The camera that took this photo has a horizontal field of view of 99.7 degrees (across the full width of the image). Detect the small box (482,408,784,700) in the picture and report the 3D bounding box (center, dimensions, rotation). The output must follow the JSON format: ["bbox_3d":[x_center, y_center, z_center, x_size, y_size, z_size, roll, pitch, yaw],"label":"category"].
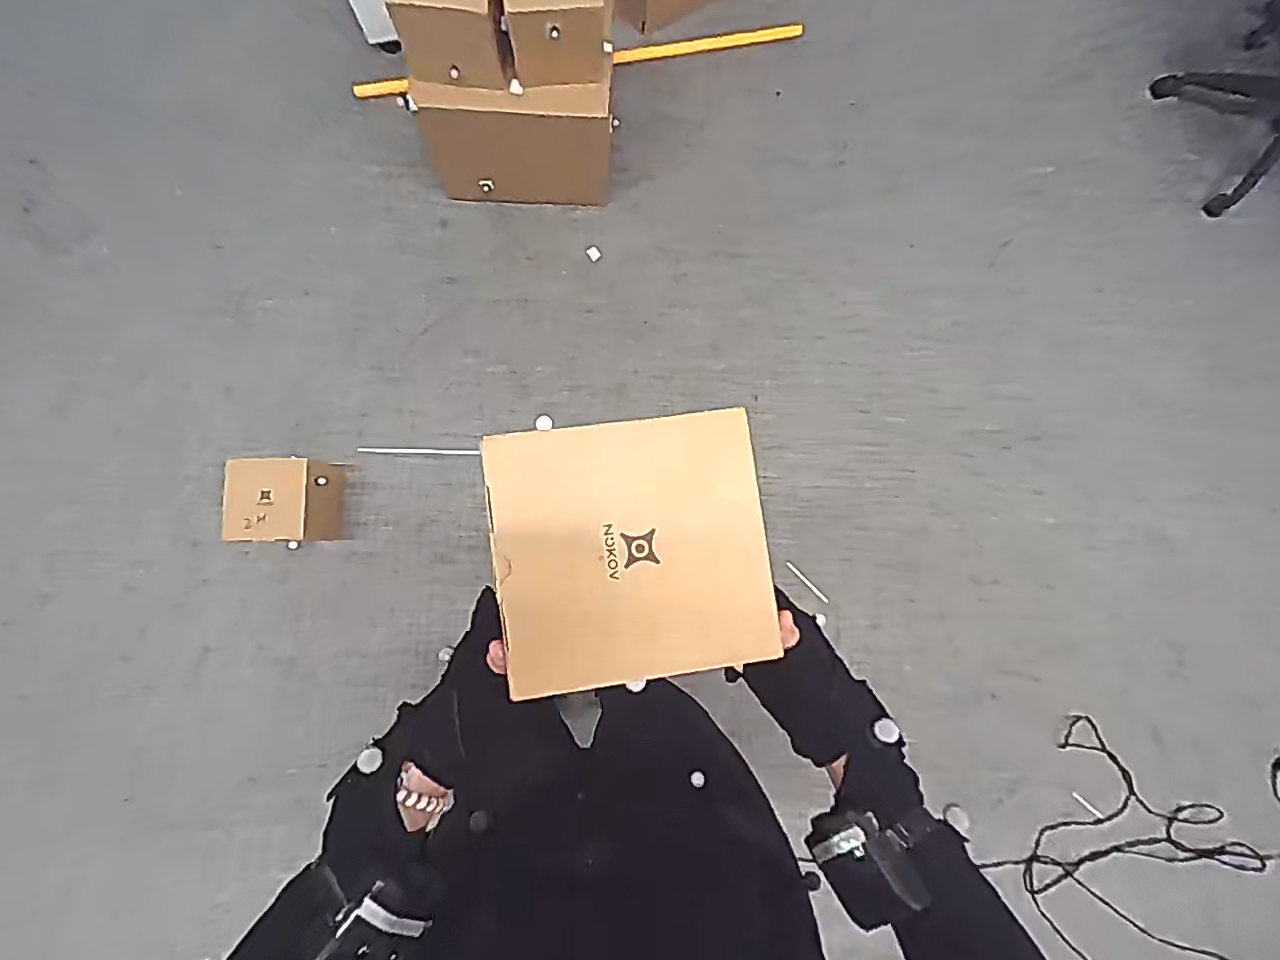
[{"bbox_3d":[-0.010,0.048,0.419,0.179,0.176,0.168,-8,86,-4],"label":"small box"}]

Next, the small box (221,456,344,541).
[{"bbox_3d":[-0.782,0.045,1.201,0.168,0.176,0.179,0,84,-3],"label":"small box"}]
